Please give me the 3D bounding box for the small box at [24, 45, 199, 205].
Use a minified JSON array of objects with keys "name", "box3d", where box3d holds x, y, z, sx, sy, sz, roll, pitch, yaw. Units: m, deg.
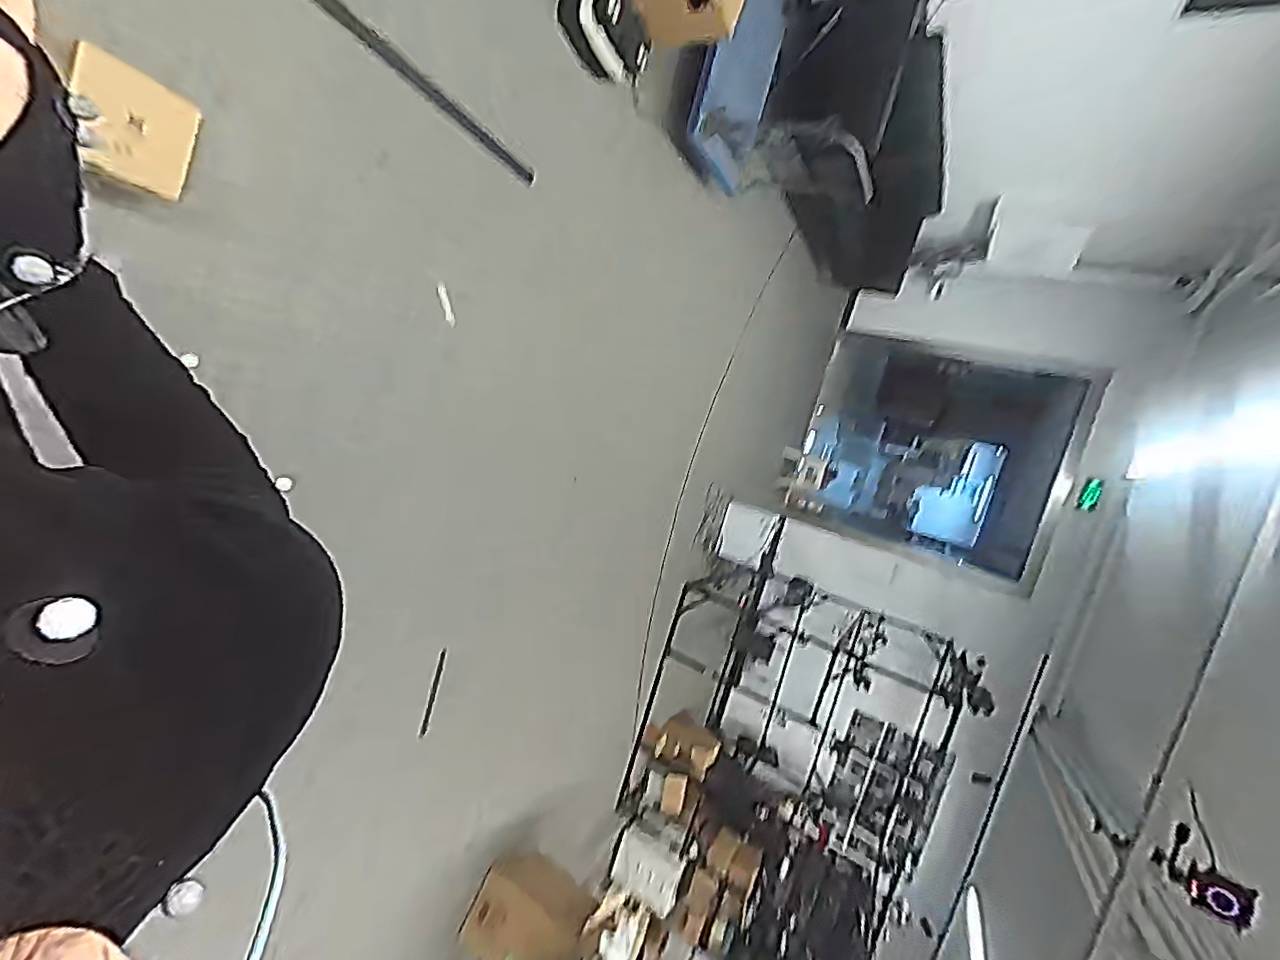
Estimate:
[{"name":"small box","box3d":[-0.939,-0.621,0.962,0.168,0.176,0.179,14,94,-62]}]
